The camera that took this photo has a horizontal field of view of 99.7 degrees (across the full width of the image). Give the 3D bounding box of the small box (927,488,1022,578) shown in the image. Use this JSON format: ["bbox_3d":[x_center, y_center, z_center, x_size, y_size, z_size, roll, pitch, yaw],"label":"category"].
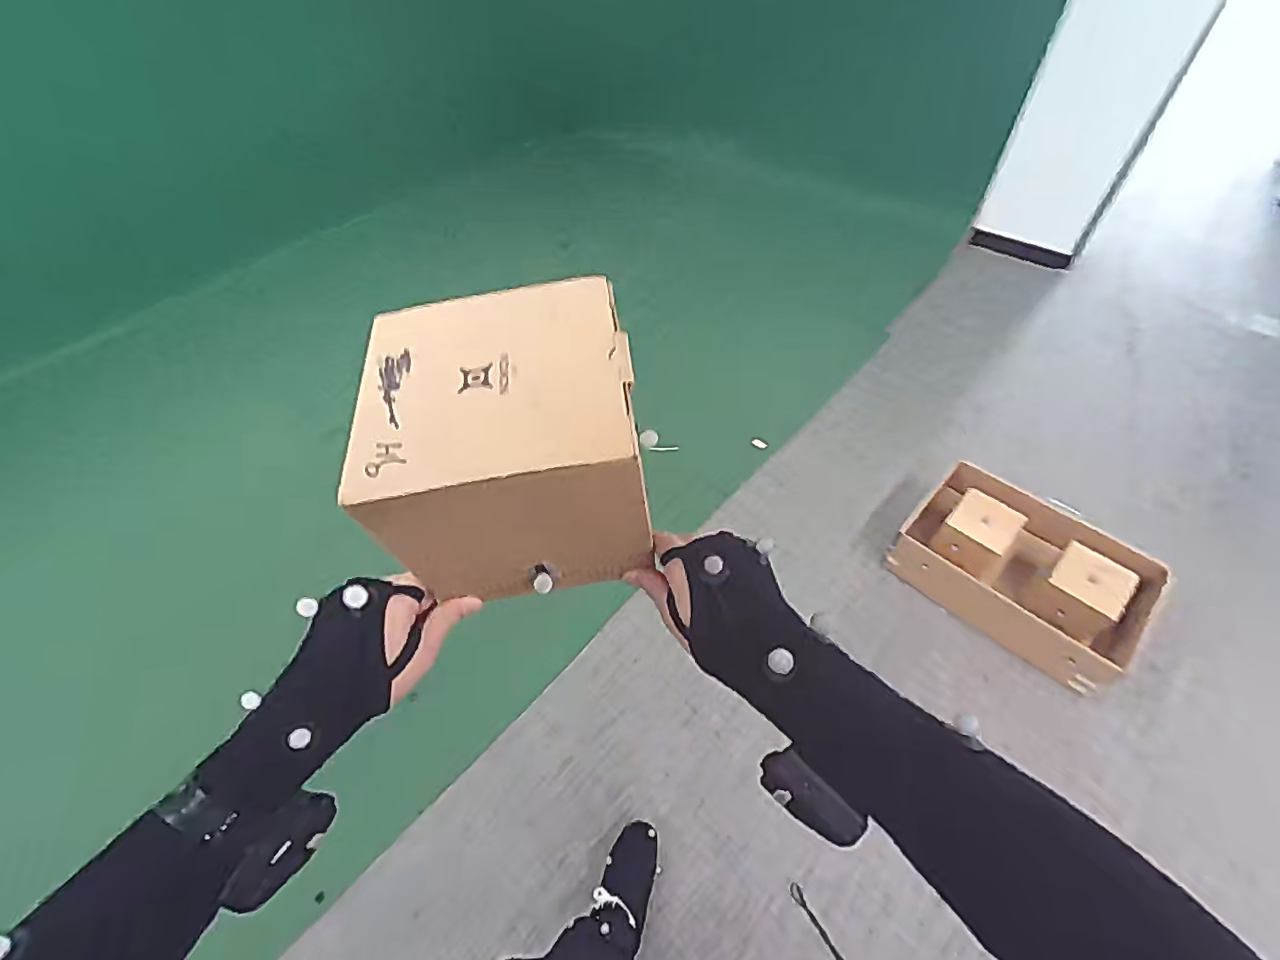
[{"bbox_3d":[1.010,0.166,1.649,0.168,0.176,0.179,36,62,27],"label":"small box"}]

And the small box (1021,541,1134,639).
[{"bbox_3d":[1.216,0.312,1.517,0.179,0.176,0.168,-40,59,-23],"label":"small box"}]

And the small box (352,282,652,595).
[{"bbox_3d":[-0.085,-0.025,0.423,0.179,0.176,0.168,-8,55,0],"label":"small box"}]
